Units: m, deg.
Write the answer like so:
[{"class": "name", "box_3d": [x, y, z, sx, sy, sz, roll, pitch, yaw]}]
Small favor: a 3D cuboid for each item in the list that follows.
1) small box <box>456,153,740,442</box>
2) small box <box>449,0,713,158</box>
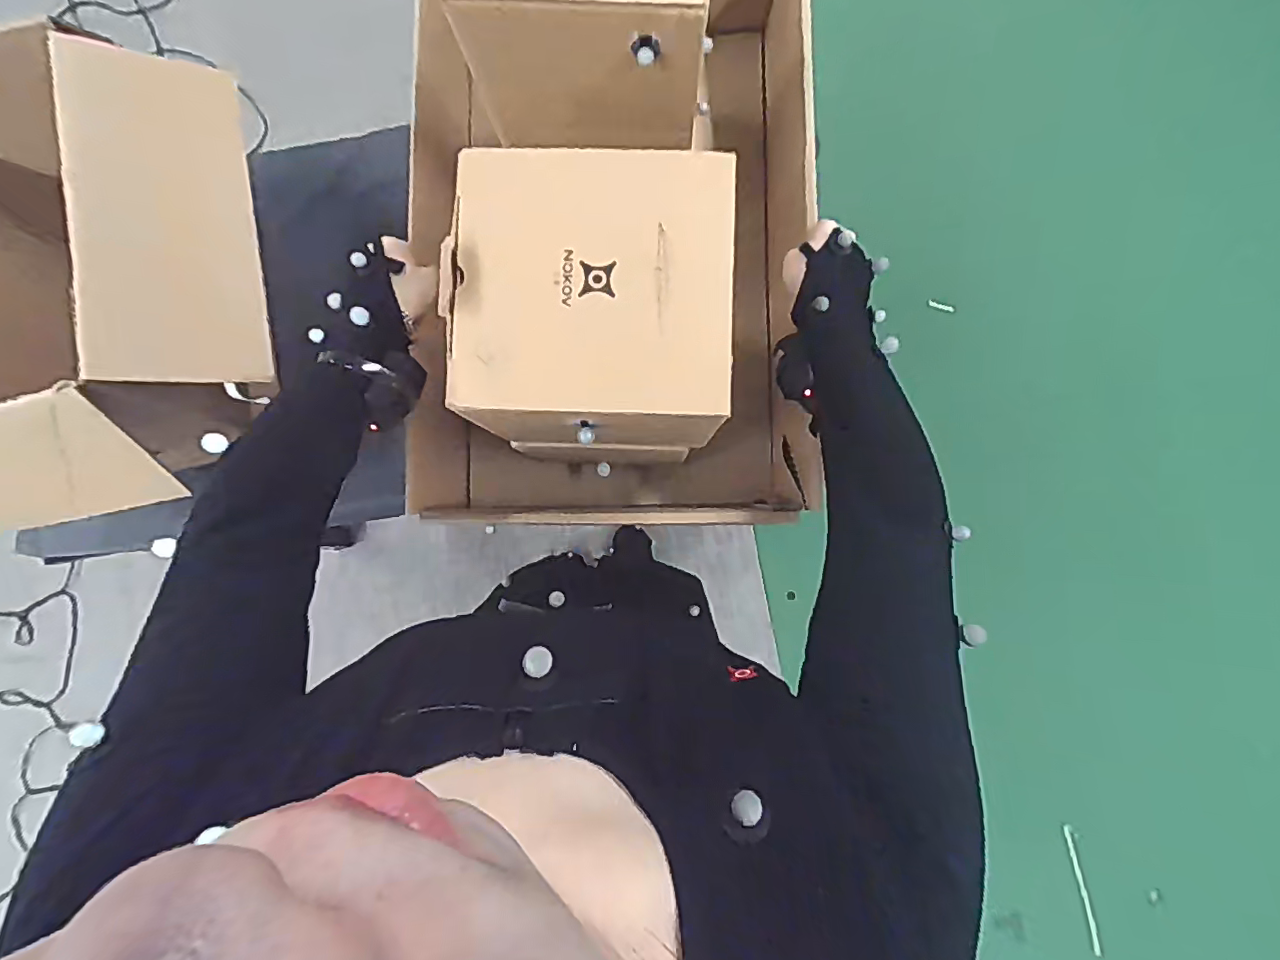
[{"class": "small box", "box_3d": [-0.025, -0.120, 0.418, 0.179, 0.176, 0.168, 2, 88, 0]}, {"class": "small box", "box_3d": [-0.034, -0.380, 0.427, 0.179, 0.176, 0.168, 3, 89, 0]}]
